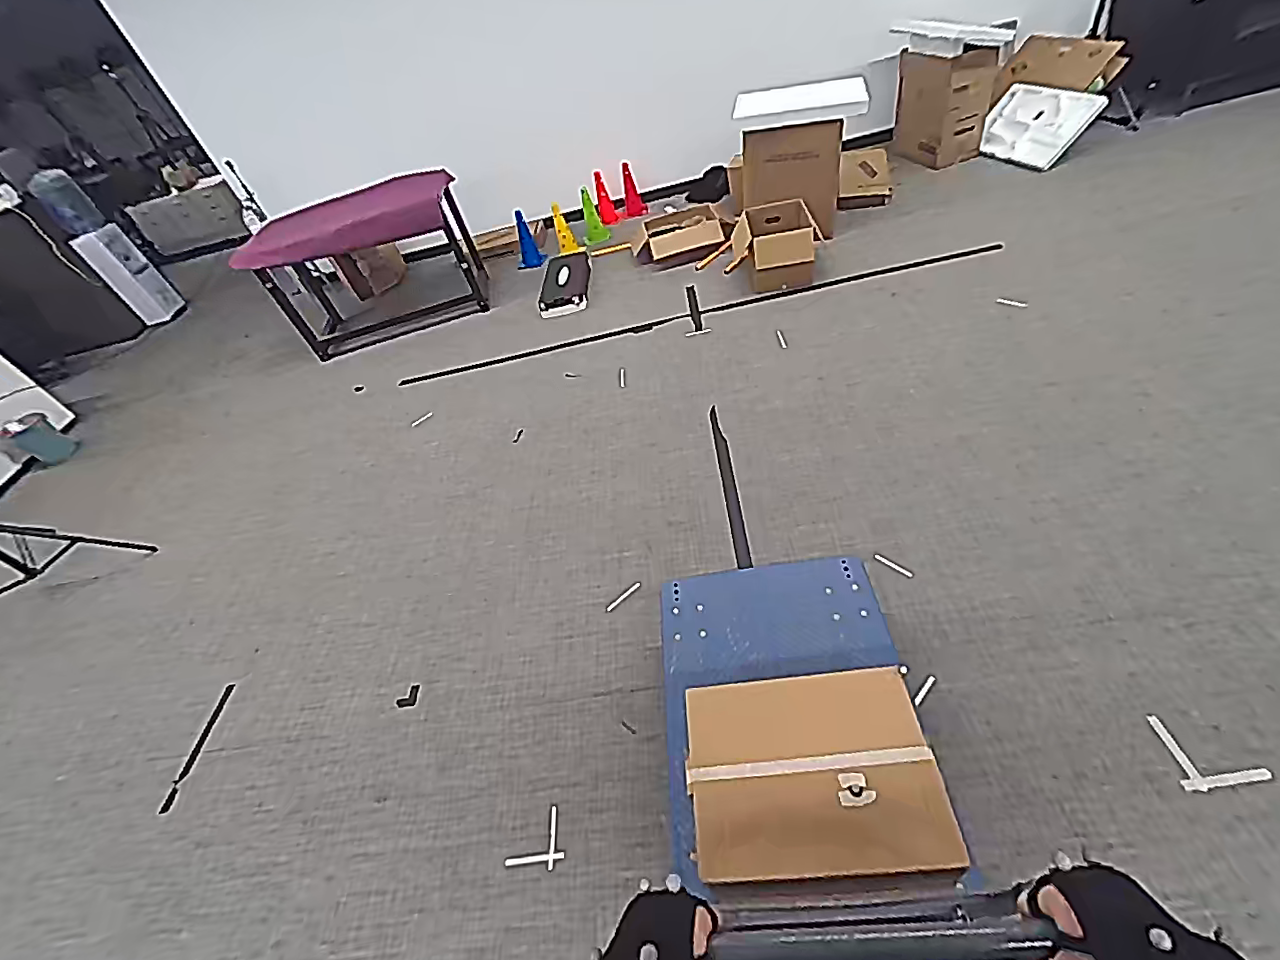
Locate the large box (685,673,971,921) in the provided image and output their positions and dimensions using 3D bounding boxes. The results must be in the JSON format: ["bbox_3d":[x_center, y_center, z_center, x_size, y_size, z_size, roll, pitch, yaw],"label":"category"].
[{"bbox_3d":[0.314,0.600,1.015,0.408,0.320,0.320,-9,45,8],"label":"large box"}]
